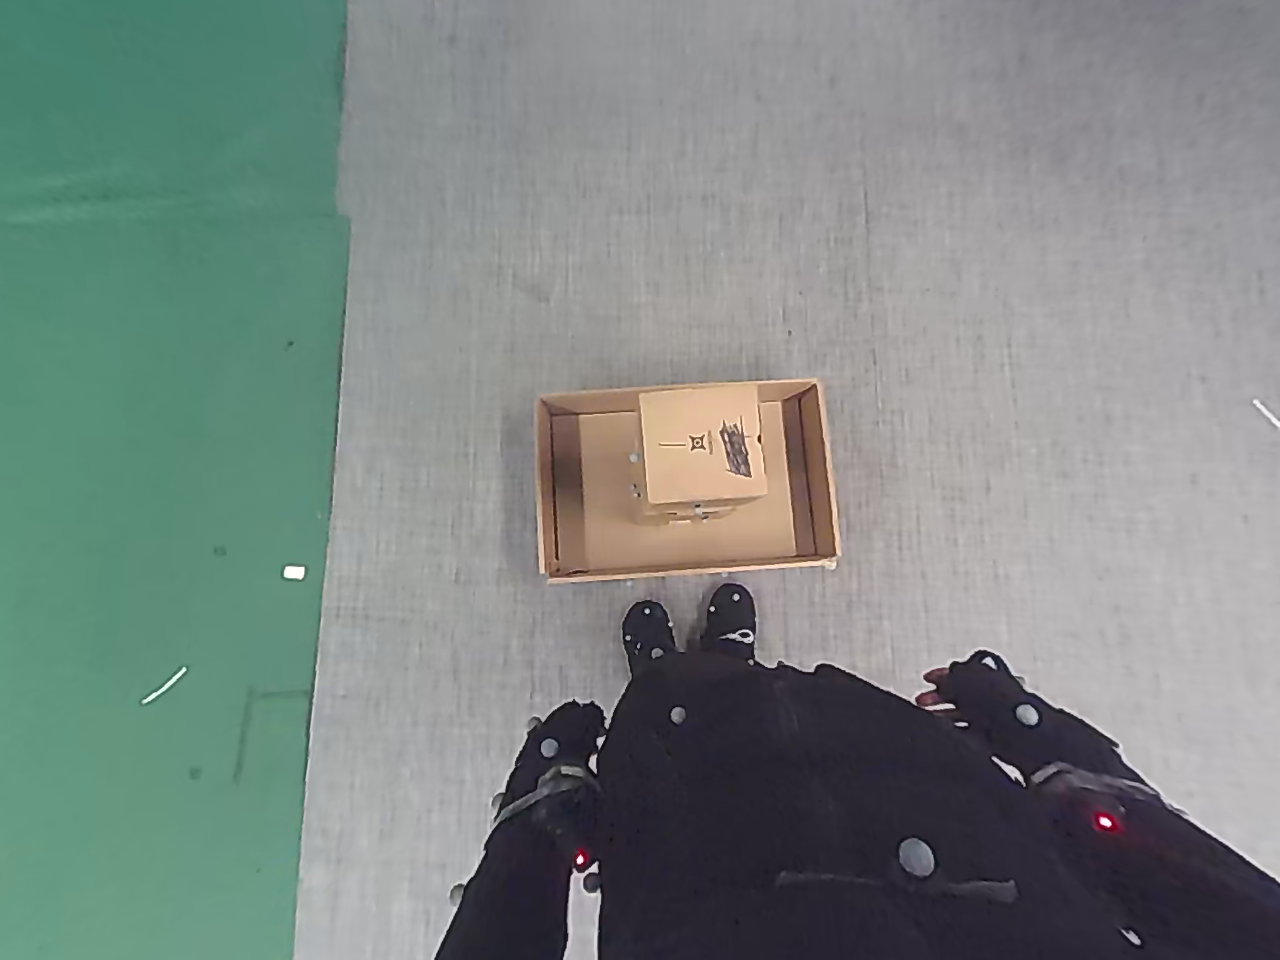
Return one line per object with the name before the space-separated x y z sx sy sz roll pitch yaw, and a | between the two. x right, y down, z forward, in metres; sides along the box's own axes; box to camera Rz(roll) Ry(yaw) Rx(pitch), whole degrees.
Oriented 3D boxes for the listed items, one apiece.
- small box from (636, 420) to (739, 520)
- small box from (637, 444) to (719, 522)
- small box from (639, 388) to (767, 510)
small box | 0.083 -0.017 1.012 0.168 0.176 0.179 -6 83 -1
small box | 0.080 0.002 1.190 0.168 0.176 0.179 -3 83 0
small box | 0.091 -0.042 0.867 0.179 0.176 0.168 -5 83 -1
